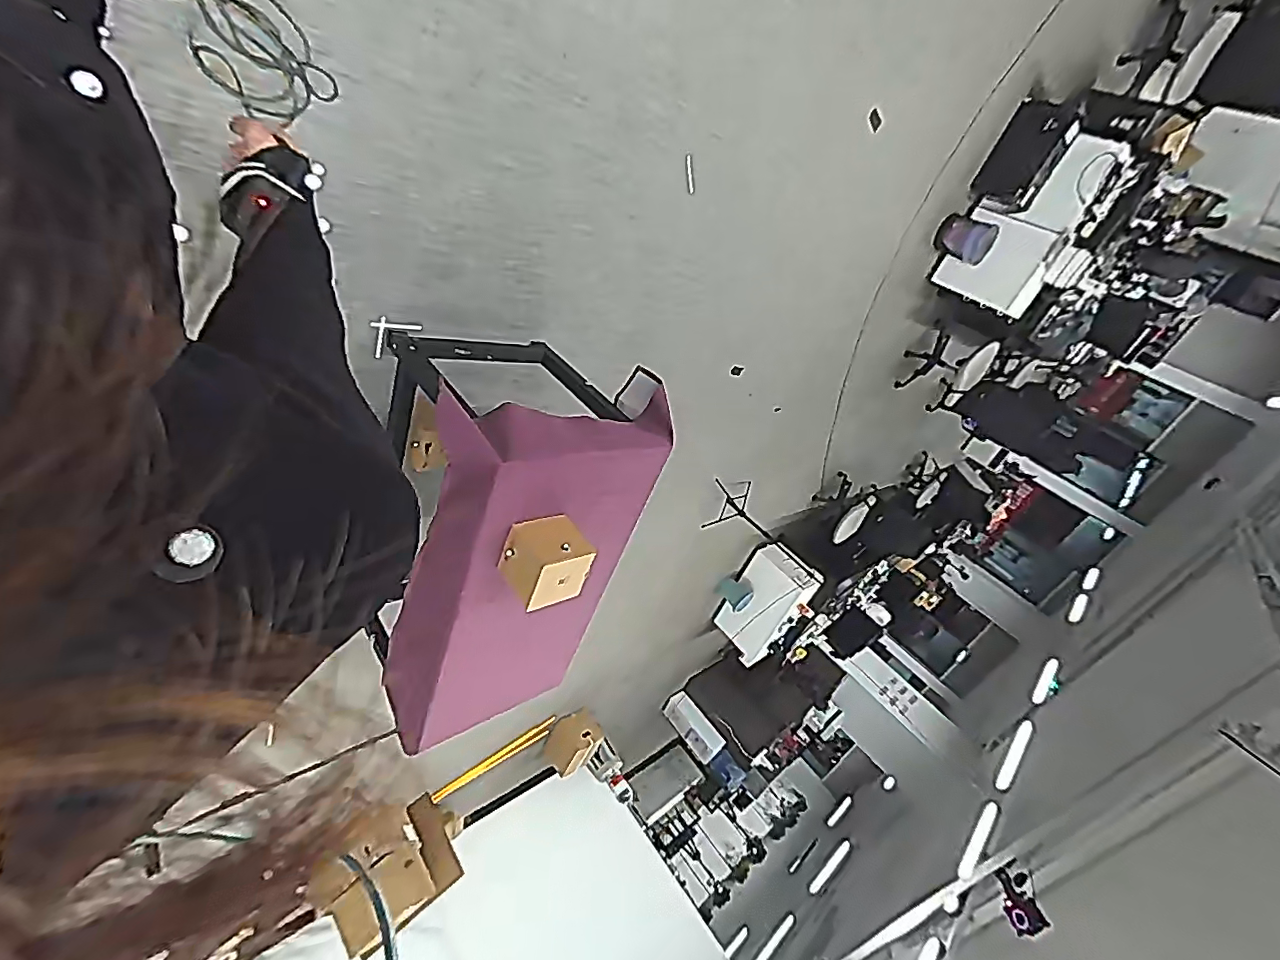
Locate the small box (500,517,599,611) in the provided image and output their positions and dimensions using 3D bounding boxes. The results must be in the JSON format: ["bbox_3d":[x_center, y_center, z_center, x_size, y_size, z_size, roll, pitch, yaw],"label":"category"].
[{"bbox_3d":[-0.246,0.216,1.452,0.179,0.176,0.168,-8,132,-45],"label":"small box"}]
